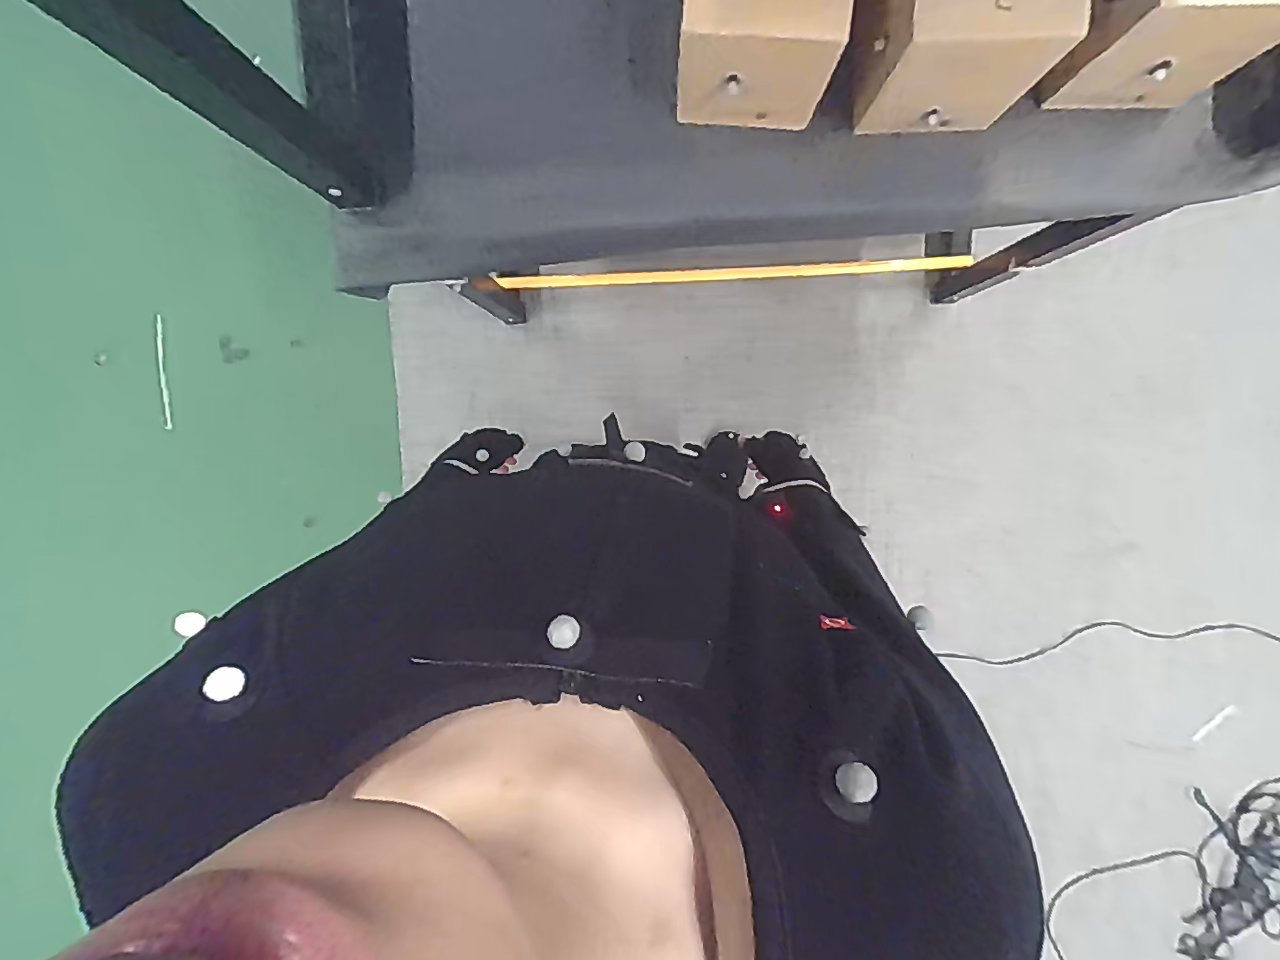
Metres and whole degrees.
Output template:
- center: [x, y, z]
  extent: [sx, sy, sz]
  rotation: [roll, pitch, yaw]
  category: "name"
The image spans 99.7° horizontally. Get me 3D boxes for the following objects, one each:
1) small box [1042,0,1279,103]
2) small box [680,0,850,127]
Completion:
- center: [0.574, -0.540, 0.581]
  extent: [0.168, 0.176, 0.179]
  rotation: [1, 95, 2]
  category: "small box"
- center: [0.133, -0.530, 0.605]
  extent: [0.168, 0.176, 0.179]
  rotation: [5, 96, 2]
  category: "small box"
